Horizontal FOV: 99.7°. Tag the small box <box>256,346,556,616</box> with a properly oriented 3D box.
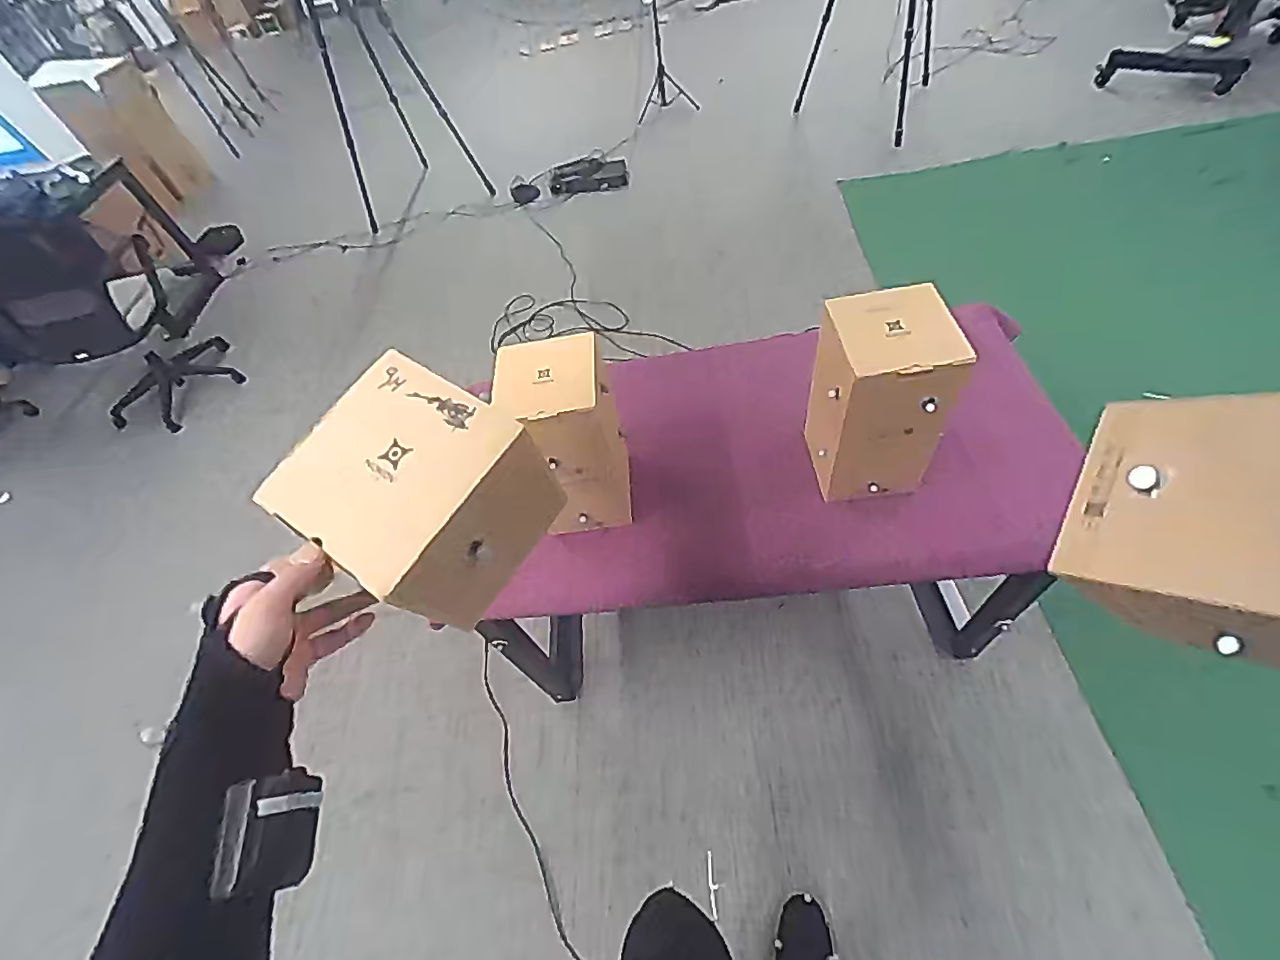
[{"bbox_3d":[-0.206,0.011,0.530,0.168,0.176,0.179,31,74,18],"label":"small box"}]

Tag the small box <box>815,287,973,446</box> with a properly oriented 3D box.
[{"bbox_3d":[0.381,-0.168,0.848,0.168,0.176,0.179,-8,53,6],"label":"small box"}]

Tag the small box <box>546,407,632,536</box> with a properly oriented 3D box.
[{"bbox_3d":[-0.111,-0.013,1.043,0.168,0.176,0.179,-8,54,6],"label":"small box"}]

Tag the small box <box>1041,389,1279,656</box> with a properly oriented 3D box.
[{"bbox_3d":[0.476,0.034,0.432,0.168,0.179,0.176,-66,21,-7],"label":"small box"}]

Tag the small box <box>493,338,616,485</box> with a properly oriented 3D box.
[{"bbox_3d":[-0.137,-0.109,0.913,0.168,0.176,0.179,-8,54,5],"label":"small box"}]
